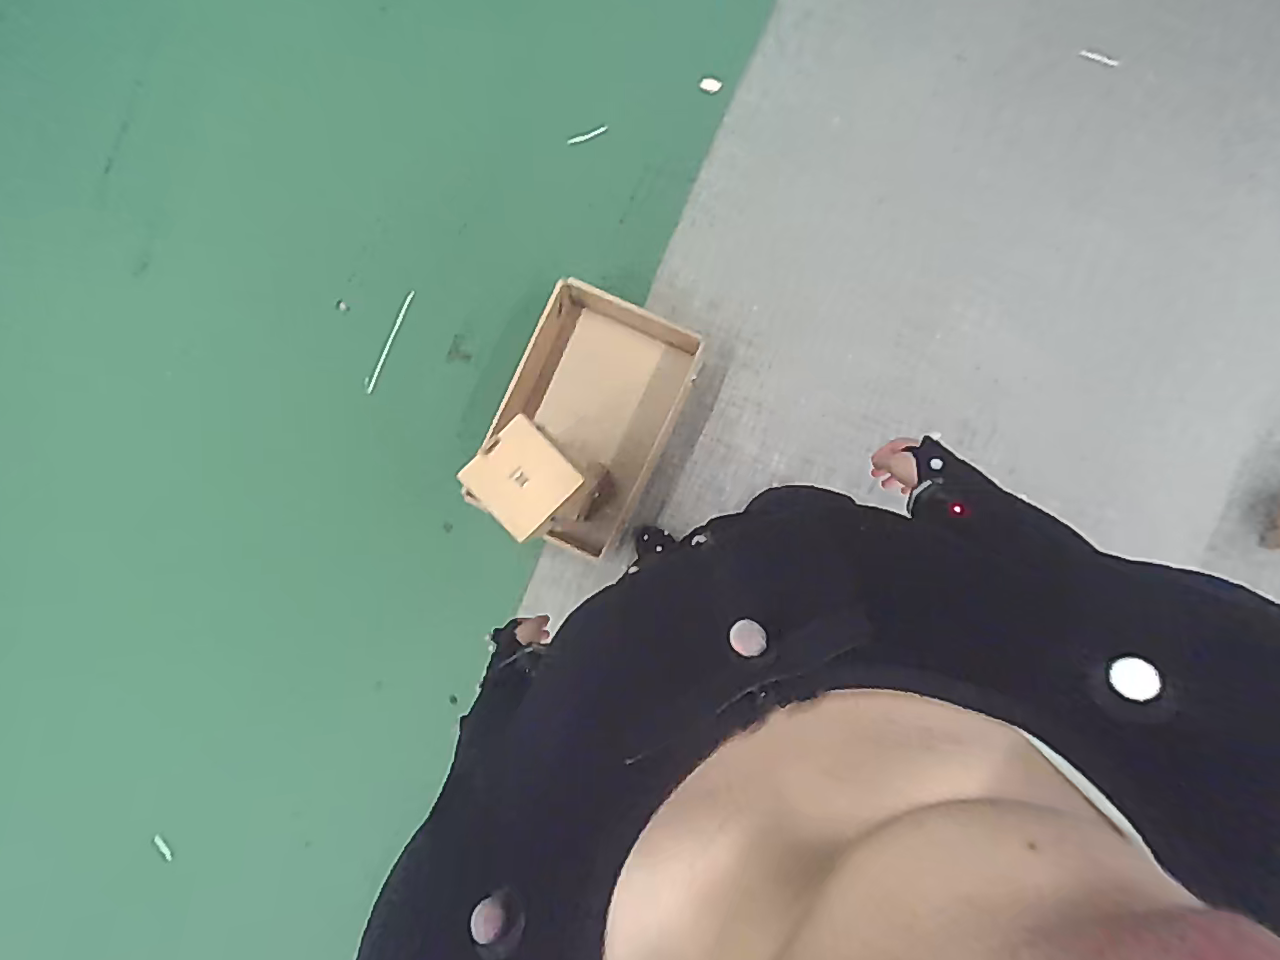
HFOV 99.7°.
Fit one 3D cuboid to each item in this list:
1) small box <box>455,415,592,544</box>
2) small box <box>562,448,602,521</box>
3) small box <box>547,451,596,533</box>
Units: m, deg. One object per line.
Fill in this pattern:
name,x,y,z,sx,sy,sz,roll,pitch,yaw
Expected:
small box,-0.213,0.000,1.045,0.168,0.176,0.179,-45,85,0
small box,-0.211,0.004,1.372,0.179,0.176,0.168,22,89,3
small box,-0.212,0.007,1.208,0.179,0.176,0.168,23,88,4
